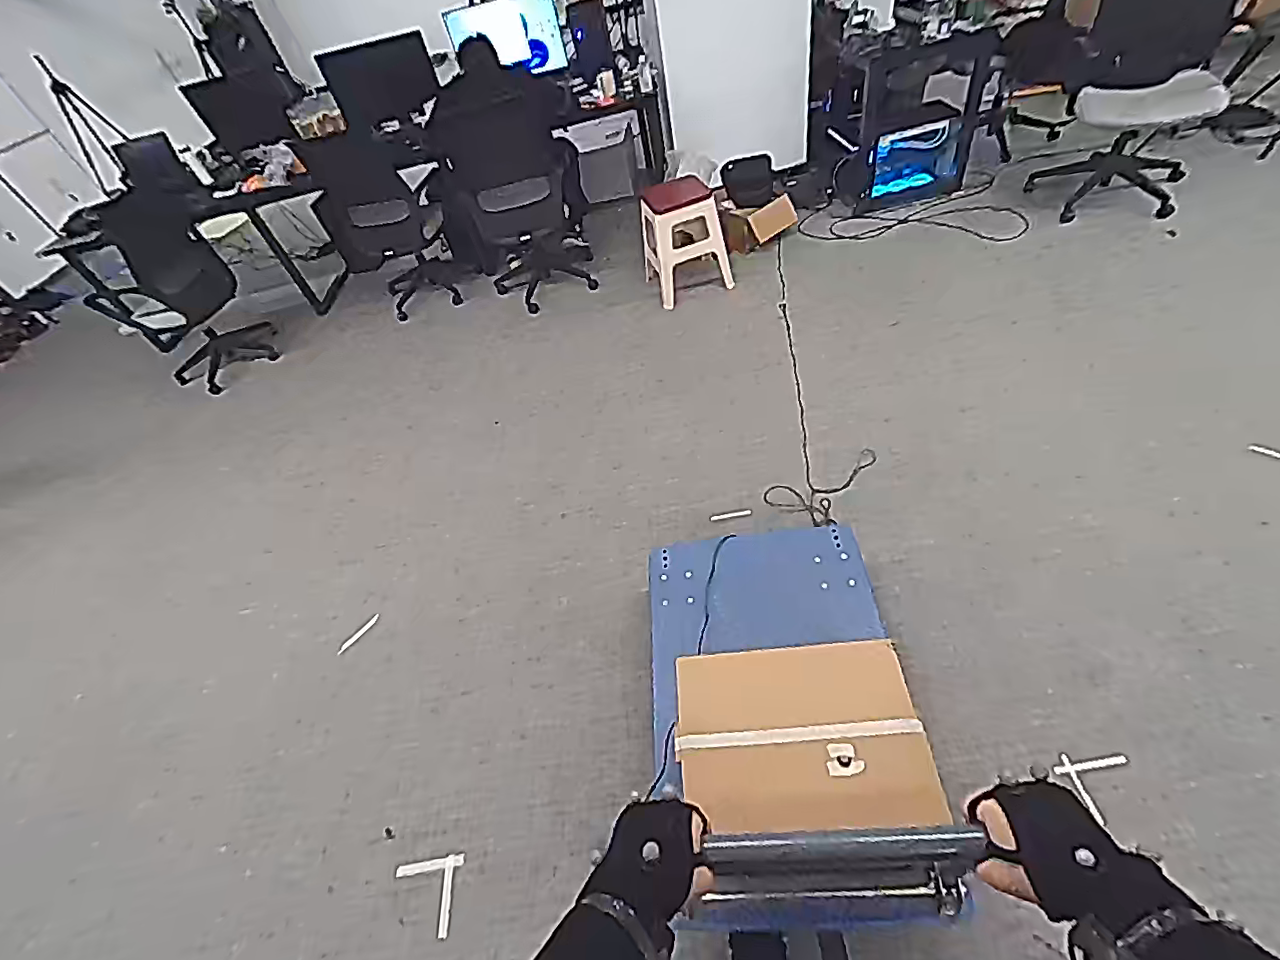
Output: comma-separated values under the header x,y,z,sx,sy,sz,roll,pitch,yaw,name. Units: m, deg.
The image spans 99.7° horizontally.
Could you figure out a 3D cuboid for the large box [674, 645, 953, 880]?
x,y,z,sx,sy,sz,roll,pitch,yaw,name
0.288,0.541,1.022,0.408,0.320,0.320,-8,49,7,large box
